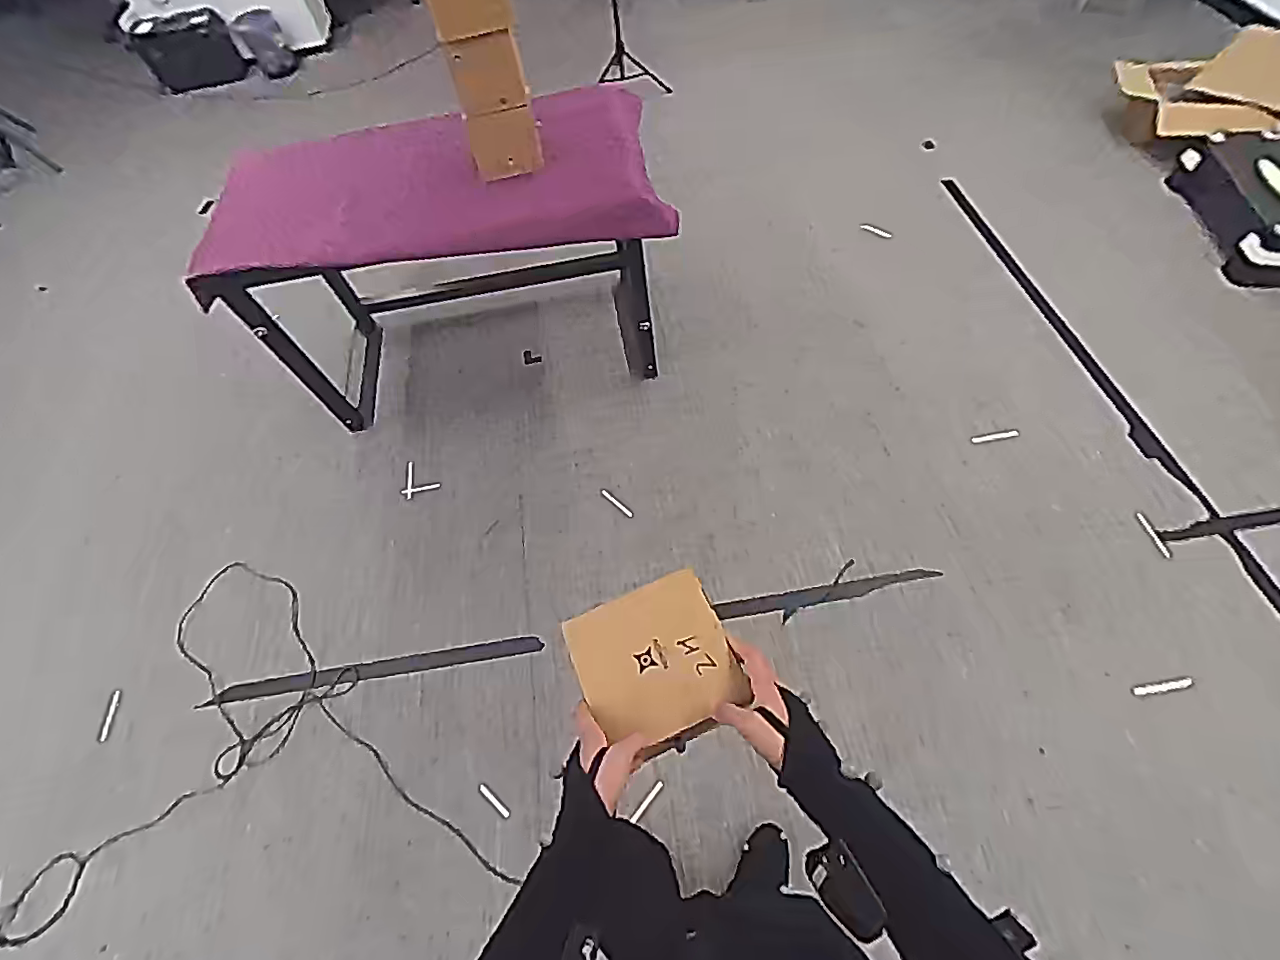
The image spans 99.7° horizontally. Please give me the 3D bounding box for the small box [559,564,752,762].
[{"bbox_3d":[0.024,0.236,0.674,0.179,0.176,0.168,-24,62,-5],"label":"small box"}]

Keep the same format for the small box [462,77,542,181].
[{"bbox_3d":[-0.370,-0.951,1.471,0.179,0.176,0.168,-13,59,-2],"label":"small box"}]

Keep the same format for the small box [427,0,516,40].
[{"bbox_3d":[-0.388,-1.099,1.179,0.179,0.176,0.168,-16,60,-3],"label":"small box"}]
